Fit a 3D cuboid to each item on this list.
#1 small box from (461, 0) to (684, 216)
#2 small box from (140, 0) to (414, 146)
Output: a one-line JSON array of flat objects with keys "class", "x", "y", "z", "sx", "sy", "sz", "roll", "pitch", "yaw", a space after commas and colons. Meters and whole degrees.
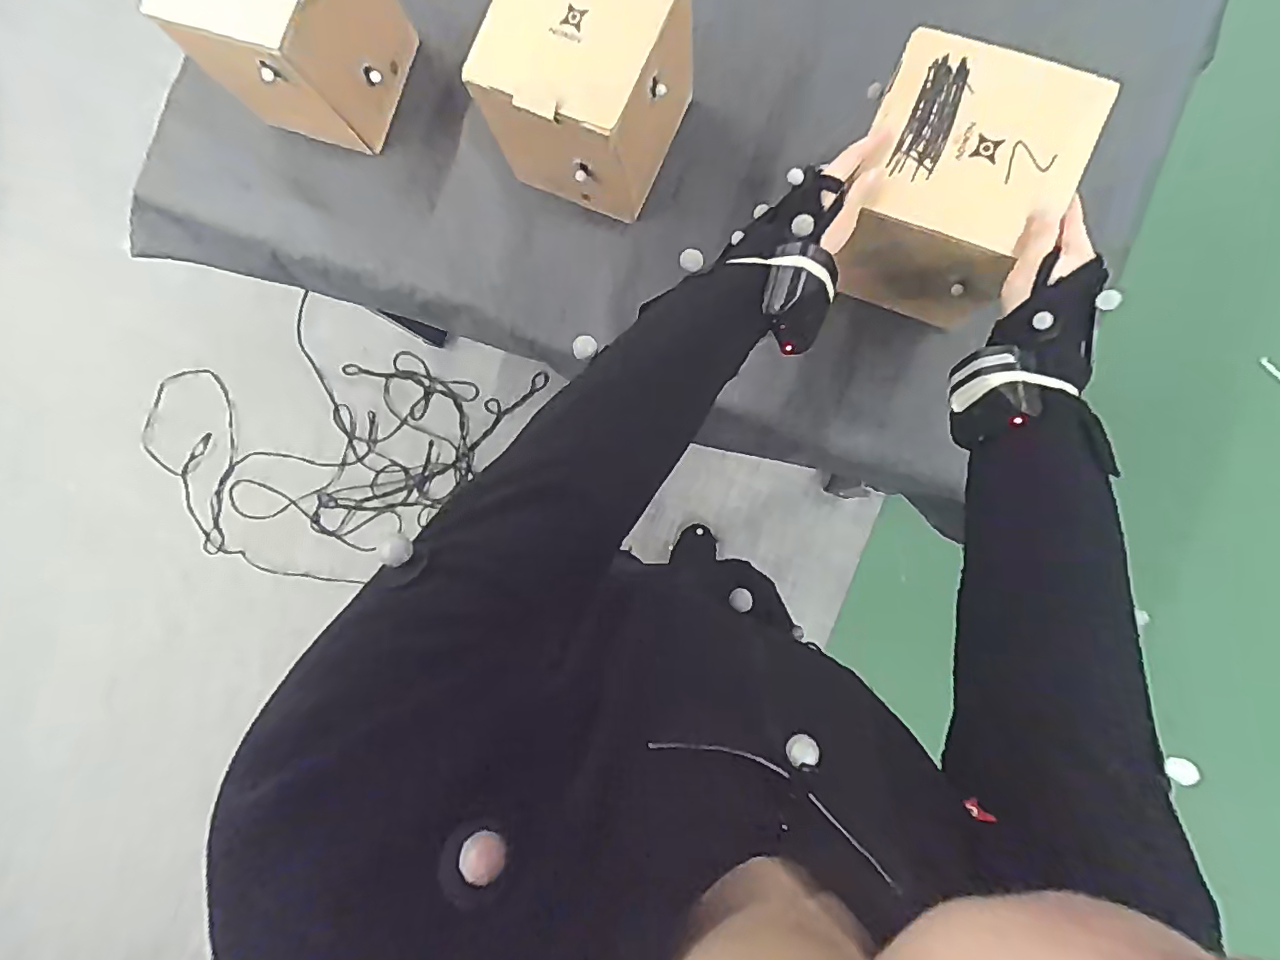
[{"class": "small box", "x": -0.056, "y": -0.426, "z": 0.586, "sx": 0.168, "sy": 0.176, "sz": 0.179, "roll": 24, "pitch": 89, "yaw": 6}, {"class": "small box", "x": -0.405, "y": -0.531, "z": 0.632, "sx": 0.179, "sy": 0.176, "sz": 0.168, "roll": 19, "pitch": 90, "yaw": 7}]
